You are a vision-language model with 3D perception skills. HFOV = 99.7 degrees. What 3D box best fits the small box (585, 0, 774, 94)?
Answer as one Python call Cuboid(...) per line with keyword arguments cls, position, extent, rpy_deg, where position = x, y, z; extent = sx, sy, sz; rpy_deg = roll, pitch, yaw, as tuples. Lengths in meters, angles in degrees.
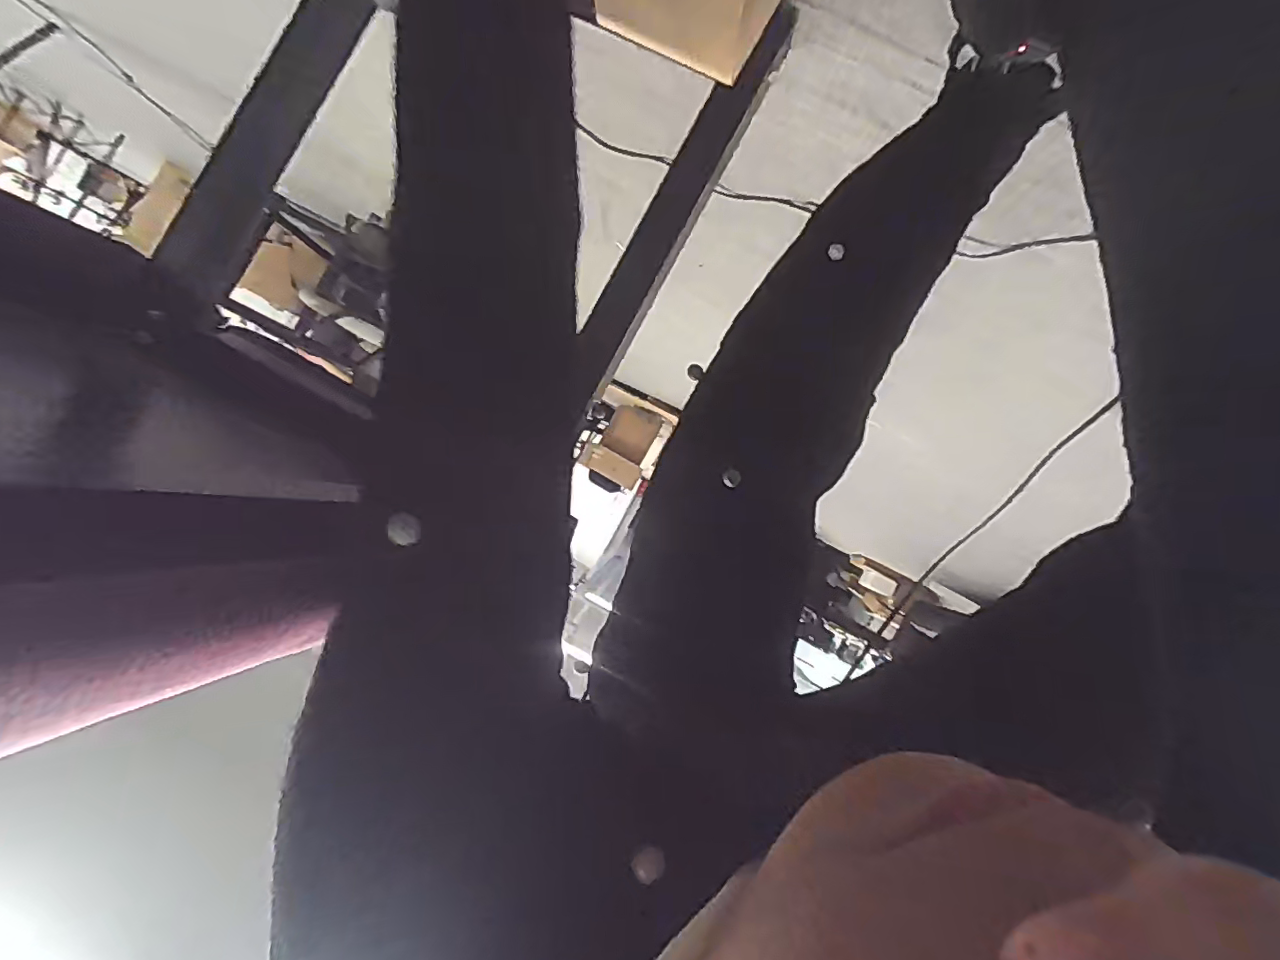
Cuboid(cls="small box", position=(0.053, -0.522, 0.494), extent=(0.168, 0.176, 0.179), rpy_deg=(28, 177, 5))
